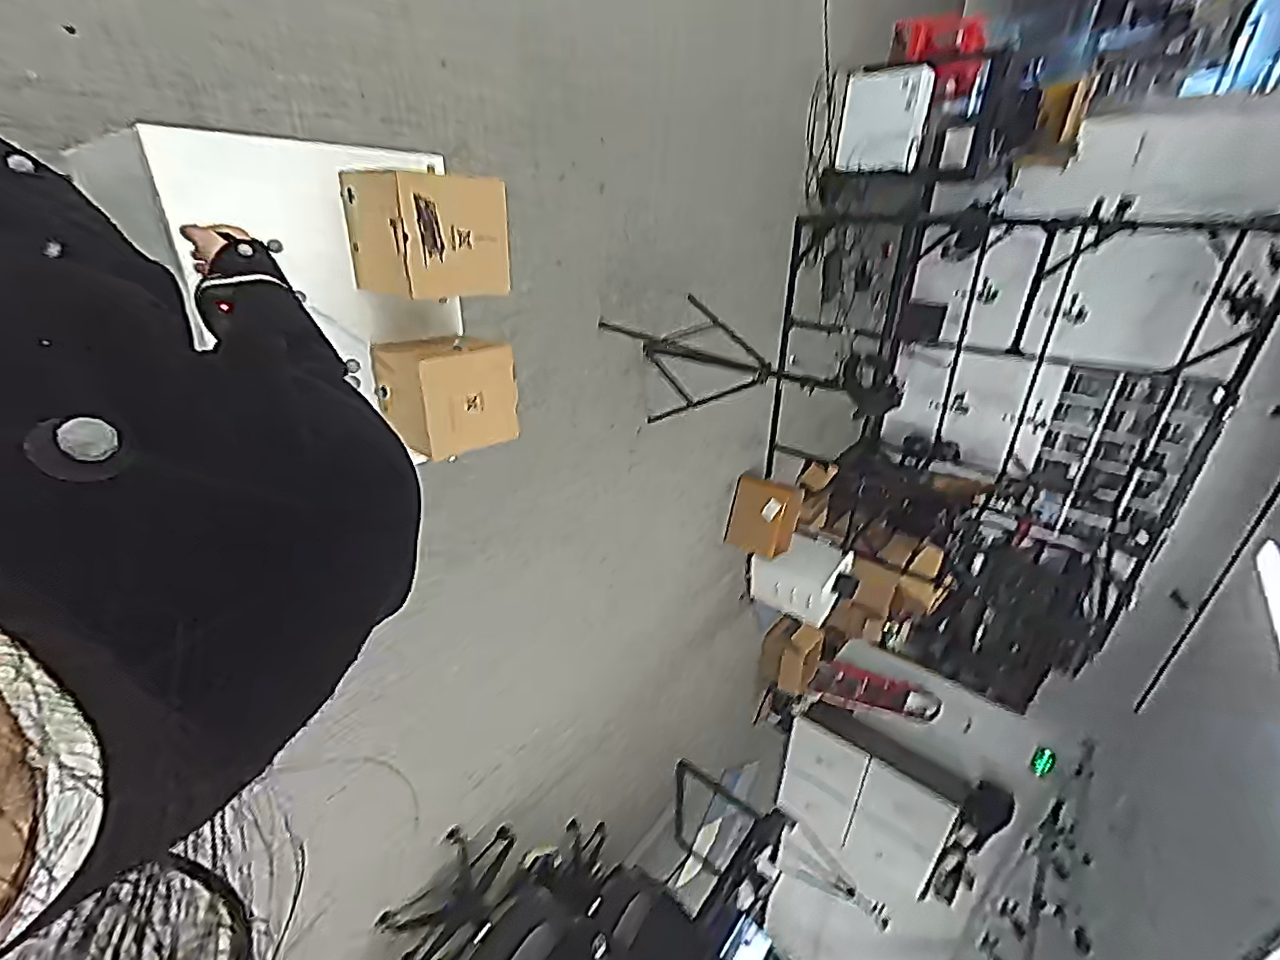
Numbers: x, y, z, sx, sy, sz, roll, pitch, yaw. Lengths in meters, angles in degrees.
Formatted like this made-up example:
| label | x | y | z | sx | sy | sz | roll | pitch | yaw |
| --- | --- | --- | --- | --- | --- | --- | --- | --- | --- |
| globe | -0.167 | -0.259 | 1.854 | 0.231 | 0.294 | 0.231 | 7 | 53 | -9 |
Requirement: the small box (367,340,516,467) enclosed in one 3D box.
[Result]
| label | x | y | z | sx | sy | sz | roll | pitch | yaw |
| --- | --- | --- | --- | --- | --- | --- | --- | --- | --- |
| small box | -0.341 | -0.143 | 0.943 | 0.179 | 0.176 | 0.168 | -25 | 125 | -43 |

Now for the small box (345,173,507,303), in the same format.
| label | x | y | z | sx | sy | sz | roll | pitch | yaw |
| --- | --- | --- | --- | --- | --- | --- | --- | --- | --- |
| small box | -0.331 | -0.370 | 0.837 | 0.179 | 0.176 | 0.168 | -25 | 127 | -46 |
